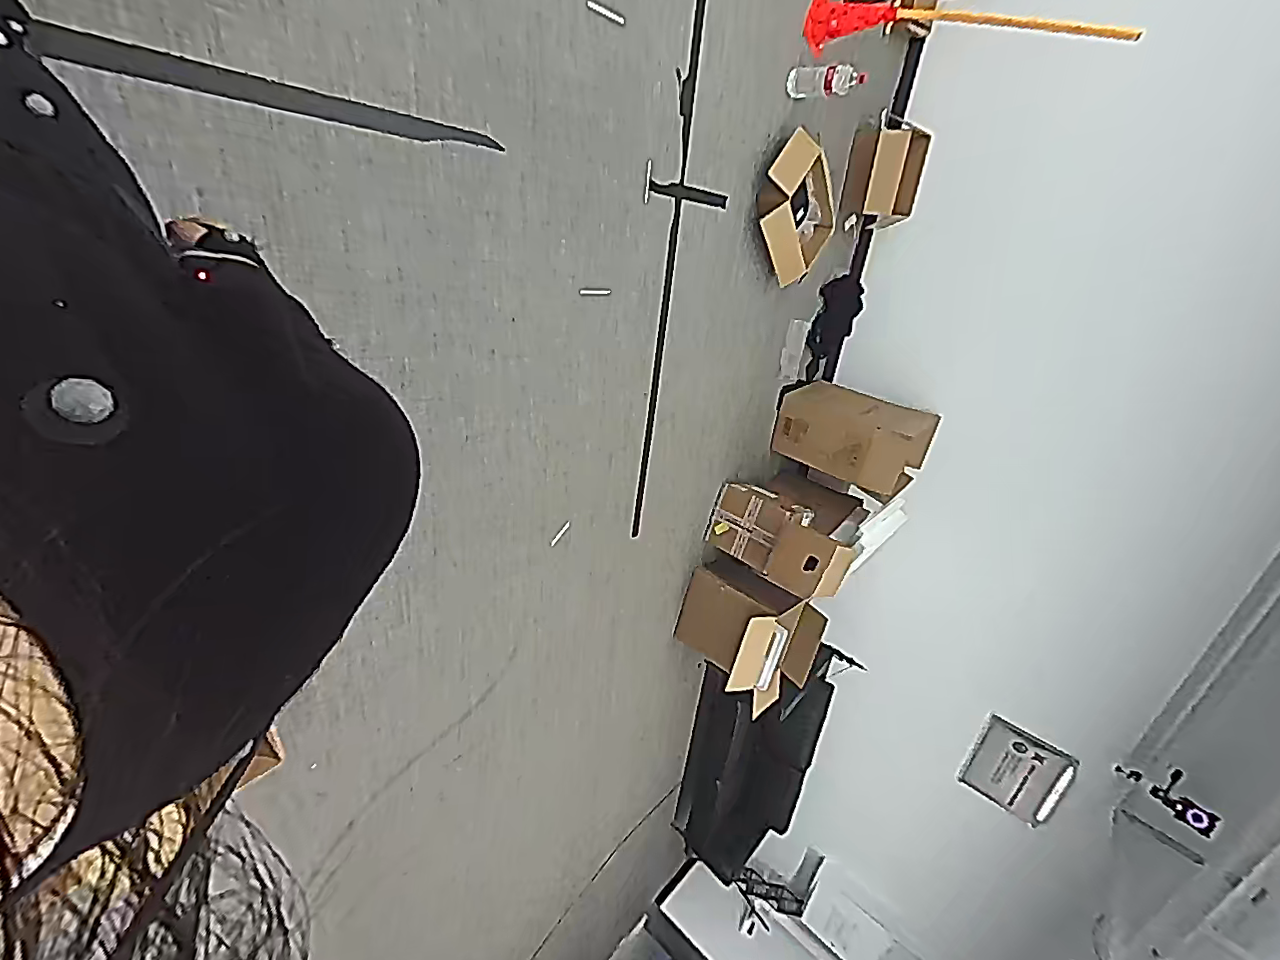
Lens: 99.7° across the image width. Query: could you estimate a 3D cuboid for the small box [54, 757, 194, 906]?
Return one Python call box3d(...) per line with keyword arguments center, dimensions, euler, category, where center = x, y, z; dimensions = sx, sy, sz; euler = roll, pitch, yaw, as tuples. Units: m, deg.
box3d(center=(-1.111, 0.748, 1.168), dimensions=(0.168, 0.176, 0.179), euler=(-26, 131, -43), category="small box")
